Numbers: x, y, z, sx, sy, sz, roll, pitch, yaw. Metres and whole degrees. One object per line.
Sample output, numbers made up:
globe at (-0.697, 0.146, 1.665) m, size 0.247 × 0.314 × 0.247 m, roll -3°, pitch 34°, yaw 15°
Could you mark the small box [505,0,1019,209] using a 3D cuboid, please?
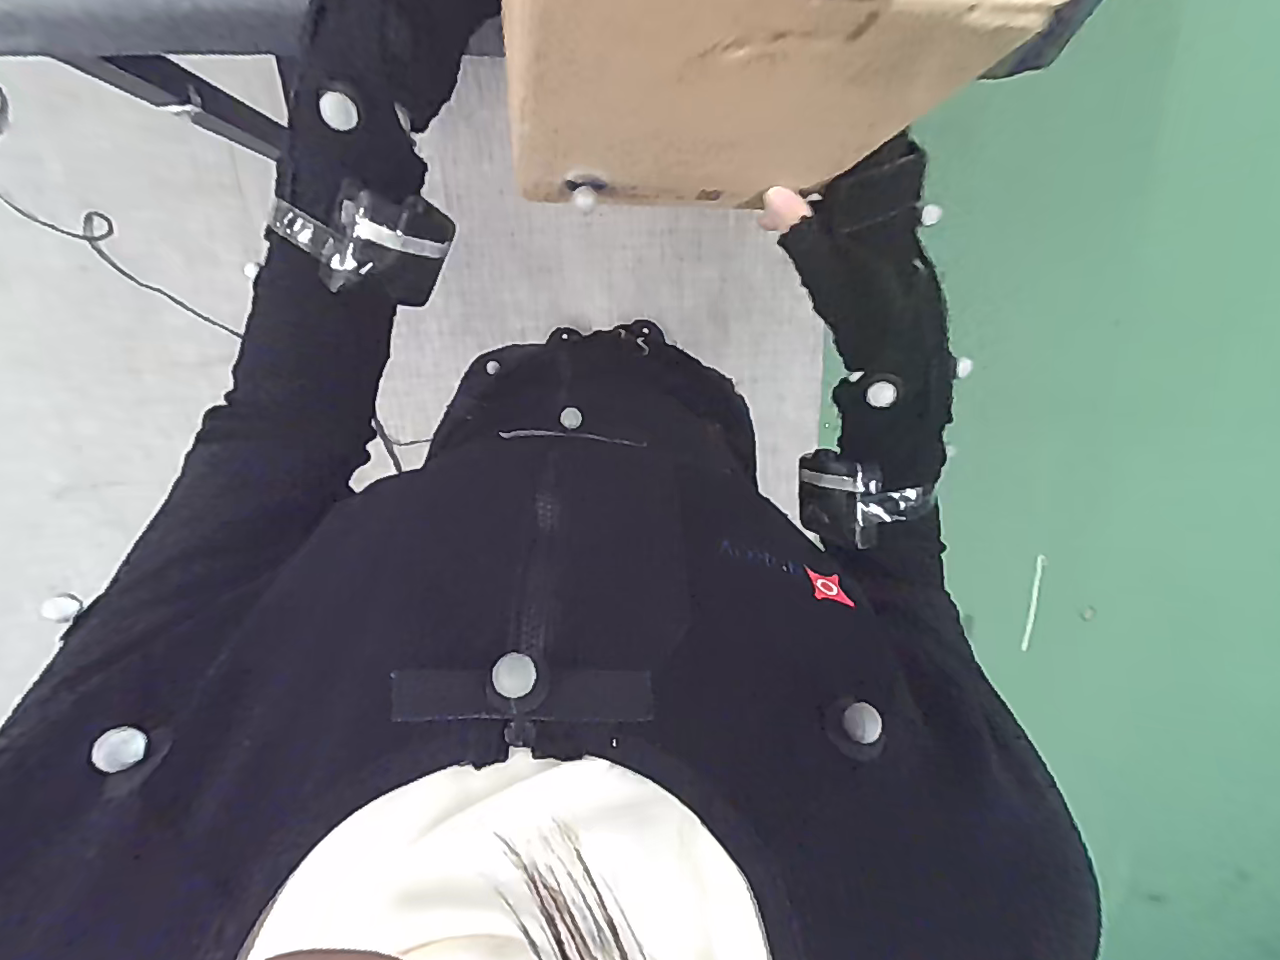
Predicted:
small box at (0.027, -0.236, 0.232) m, size 0.168 × 0.176 × 0.179 m, roll -4°, pitch 98°, yaw -13°
